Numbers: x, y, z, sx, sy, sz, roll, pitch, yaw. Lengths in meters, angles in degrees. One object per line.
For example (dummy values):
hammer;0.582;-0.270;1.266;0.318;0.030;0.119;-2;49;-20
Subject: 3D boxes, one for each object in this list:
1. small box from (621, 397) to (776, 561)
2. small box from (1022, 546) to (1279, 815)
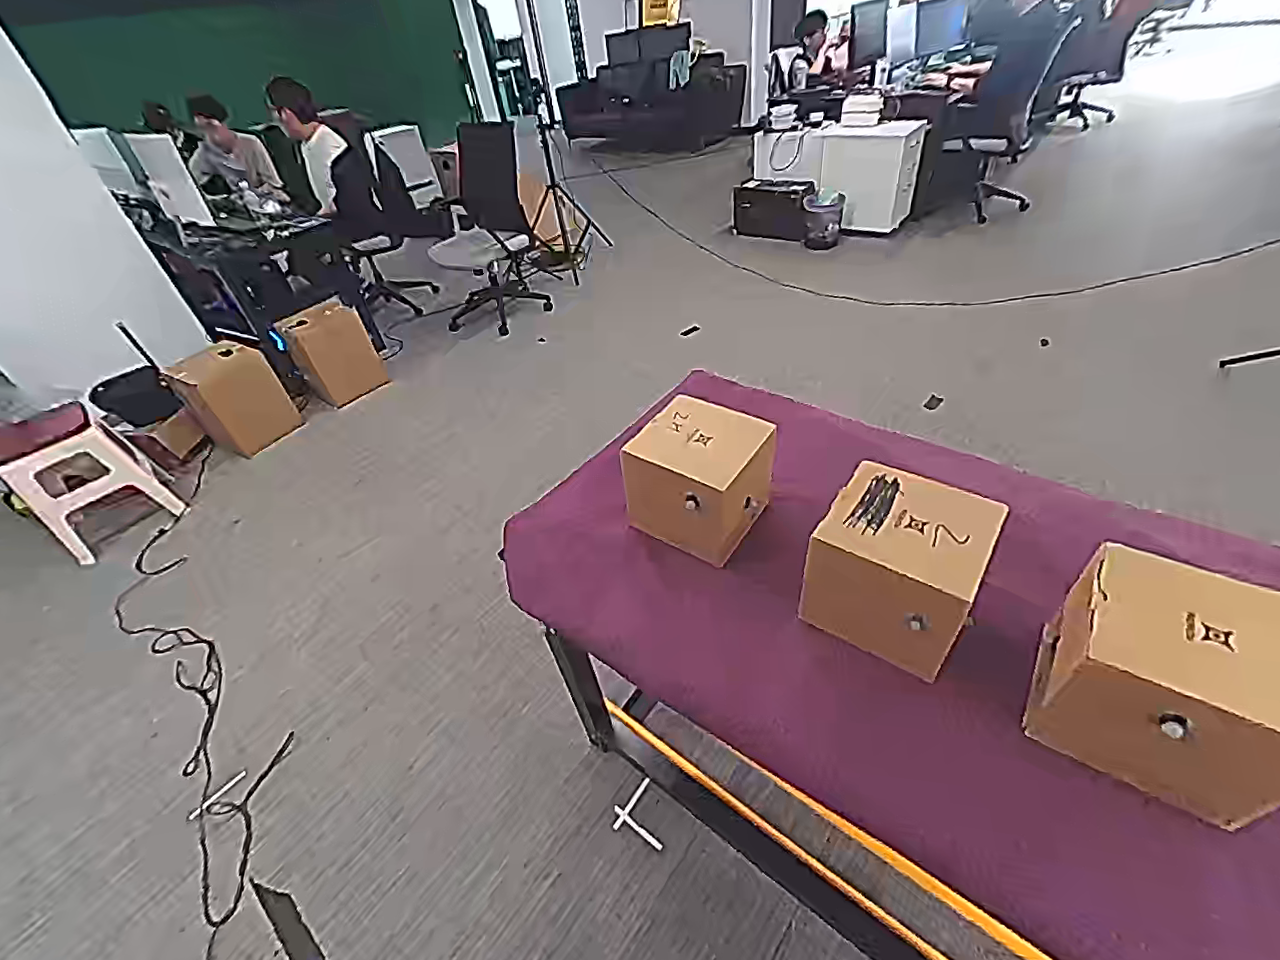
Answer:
small box;0.093;0.001;0.854;0.179;0.176;0.168;23;50;28
small box;0.532;0.205;0.553;0.179;0.176;0.168;21;49;31
